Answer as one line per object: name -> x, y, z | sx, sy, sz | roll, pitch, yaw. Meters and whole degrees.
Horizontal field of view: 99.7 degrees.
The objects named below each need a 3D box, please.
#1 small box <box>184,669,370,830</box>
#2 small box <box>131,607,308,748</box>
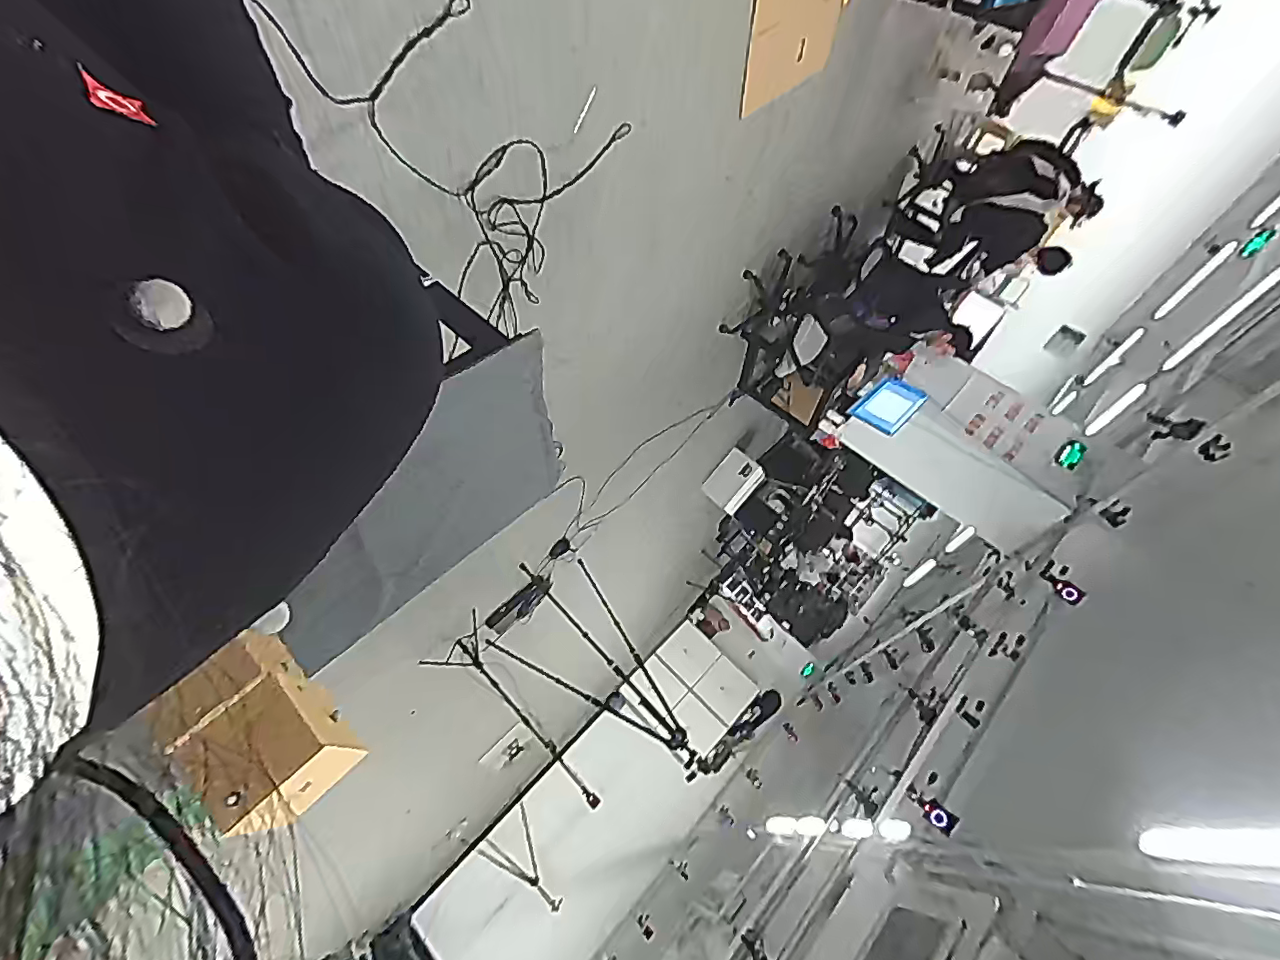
small box -> -0.616, 0.455, 0.930 | 0.179, 0.176, 0.168 | -42, 159, -20
small box -> -0.740, 0.357, 0.971 | 0.168, 0.176, 0.179 | -42, 159, -22
